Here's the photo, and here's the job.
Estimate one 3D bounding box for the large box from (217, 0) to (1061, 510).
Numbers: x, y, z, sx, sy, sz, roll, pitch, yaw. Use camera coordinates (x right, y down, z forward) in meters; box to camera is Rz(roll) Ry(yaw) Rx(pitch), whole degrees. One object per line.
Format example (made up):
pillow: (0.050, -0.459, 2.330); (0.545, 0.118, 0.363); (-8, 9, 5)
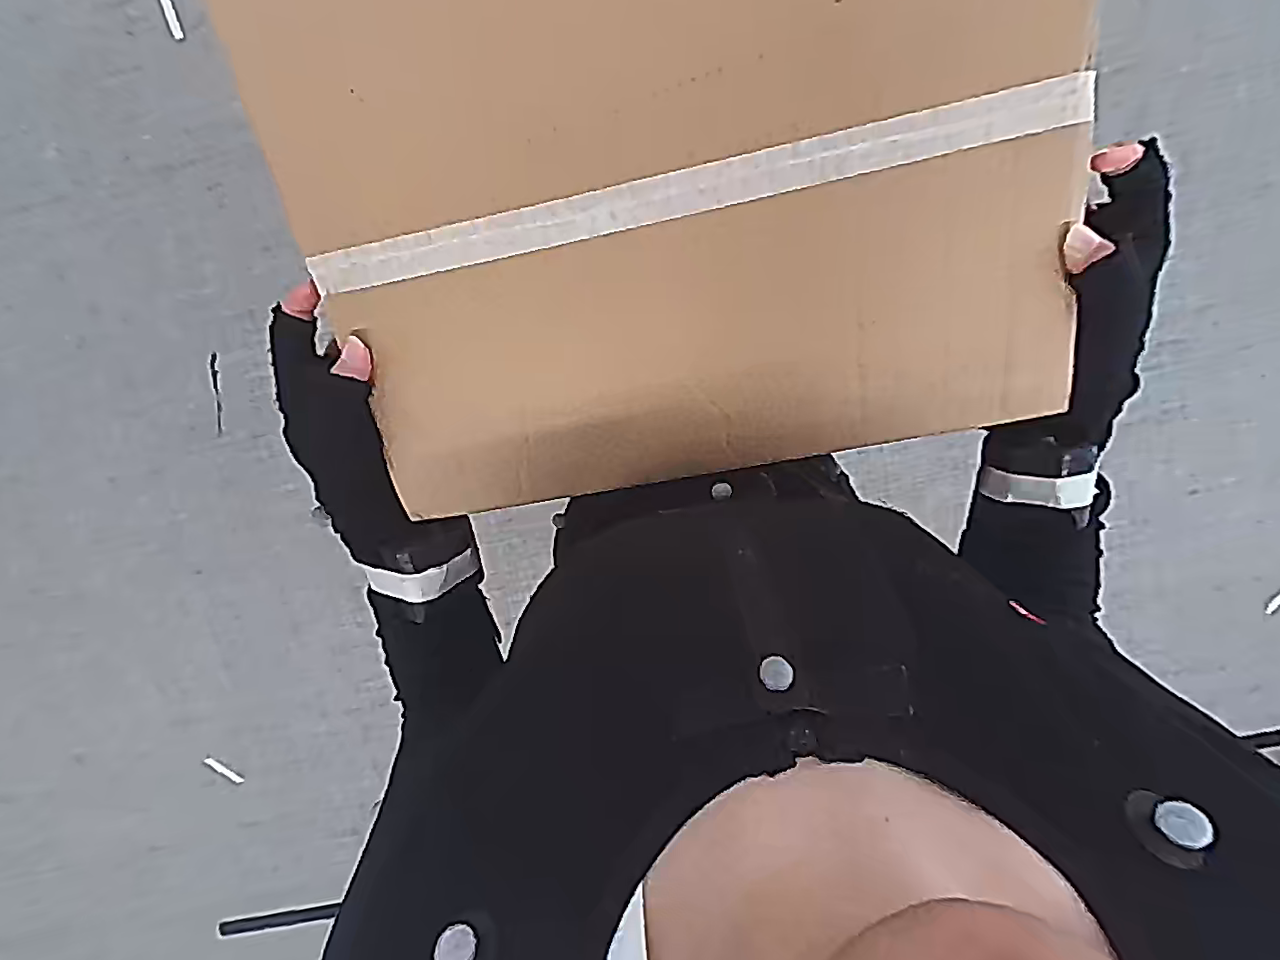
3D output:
large box: (0.019, -0.209, 0.429); (0.408, 0.320, 0.320); (-10, 110, 6)
